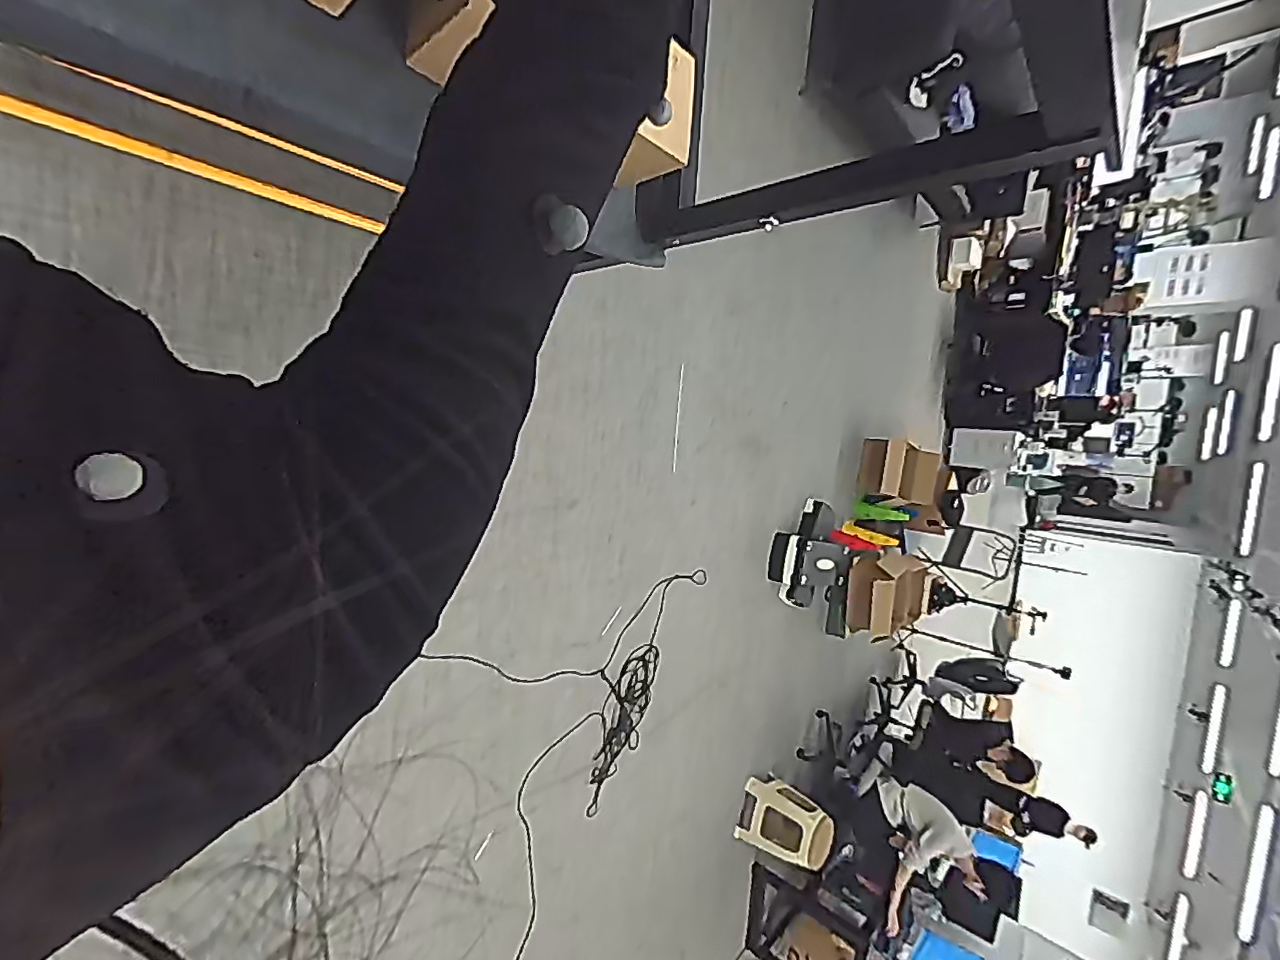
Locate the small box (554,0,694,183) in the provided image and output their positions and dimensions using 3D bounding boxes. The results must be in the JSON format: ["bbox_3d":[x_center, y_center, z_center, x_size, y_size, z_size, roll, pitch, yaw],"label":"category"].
[{"bbox_3d":[-0.030,-0.636,0.915,0.168,0.176,0.179,-1,96,-48],"label":"small box"}]
